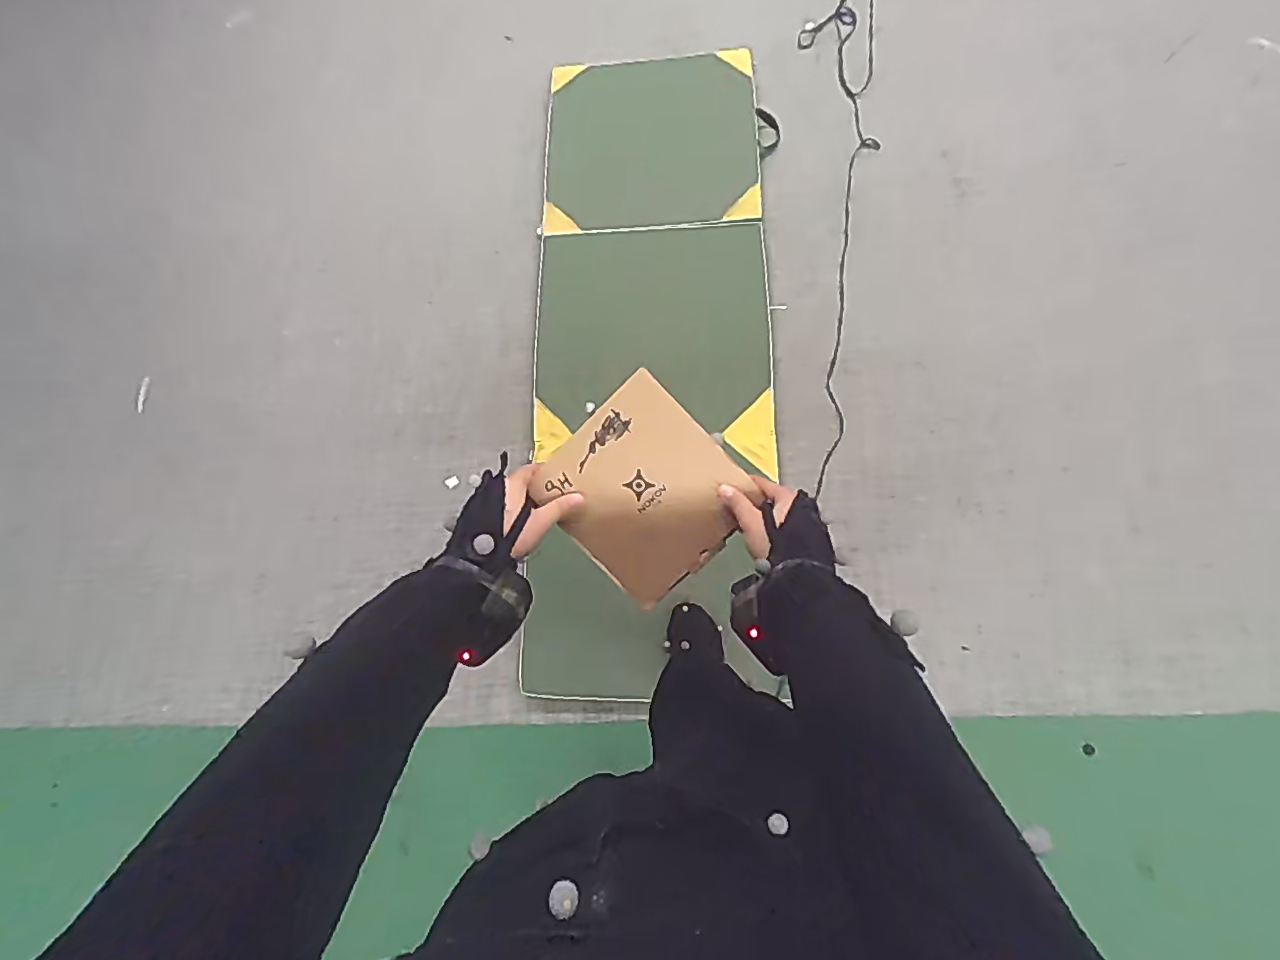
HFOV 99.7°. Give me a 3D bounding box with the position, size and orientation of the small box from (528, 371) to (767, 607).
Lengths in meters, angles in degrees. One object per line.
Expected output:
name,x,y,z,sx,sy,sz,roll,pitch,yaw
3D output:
small box,0.010,0.003,0.600,0.168,0.176,0.179,-44,92,5
